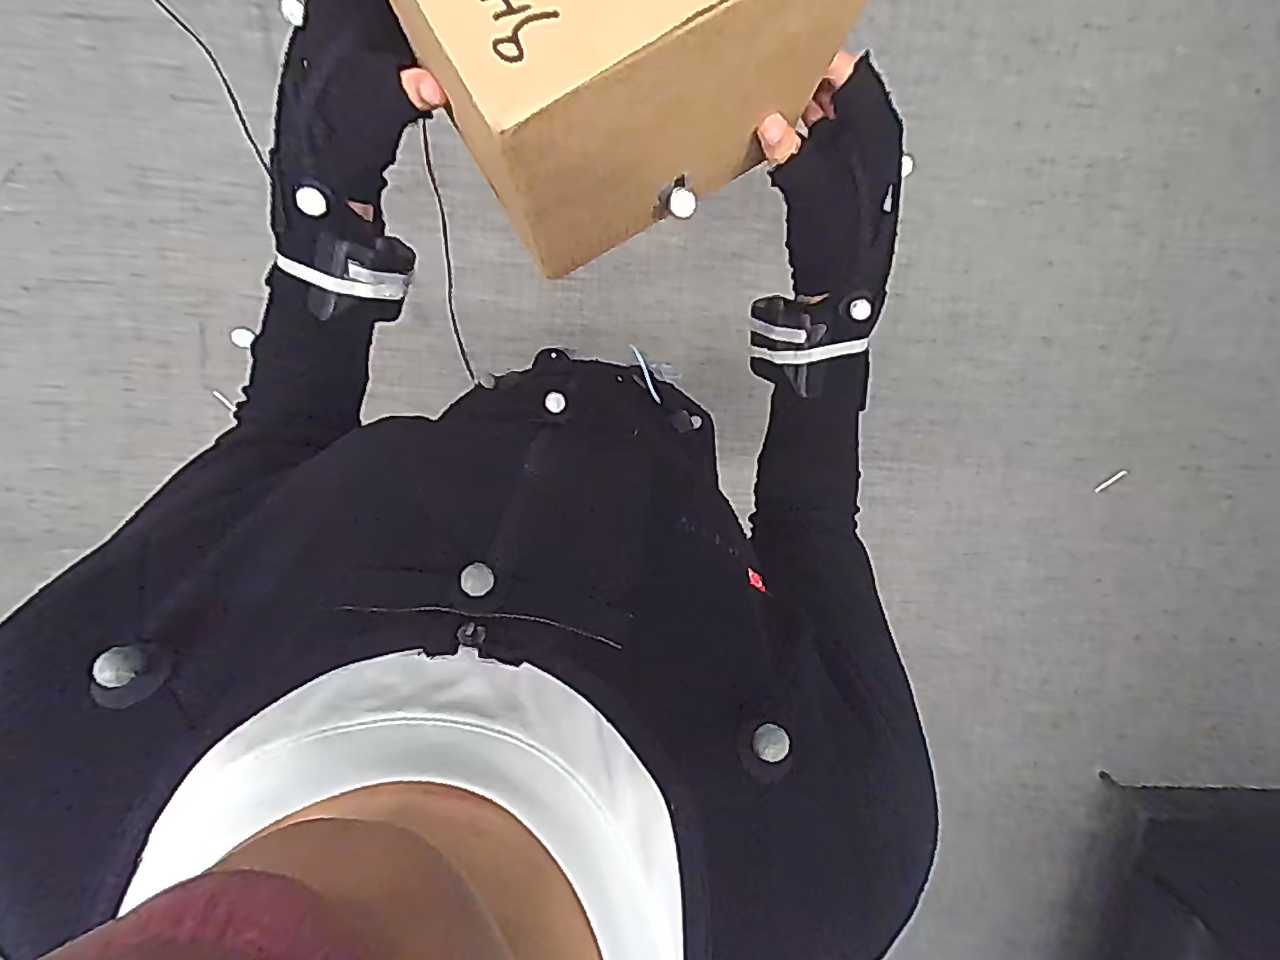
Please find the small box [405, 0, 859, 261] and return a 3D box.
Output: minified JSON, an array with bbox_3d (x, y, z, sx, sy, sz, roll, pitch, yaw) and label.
[{"bbox_3d":[-0.017,-0.242,0.266,0.179,0.176,0.168,-30,95,-1],"label":"small box"}]
